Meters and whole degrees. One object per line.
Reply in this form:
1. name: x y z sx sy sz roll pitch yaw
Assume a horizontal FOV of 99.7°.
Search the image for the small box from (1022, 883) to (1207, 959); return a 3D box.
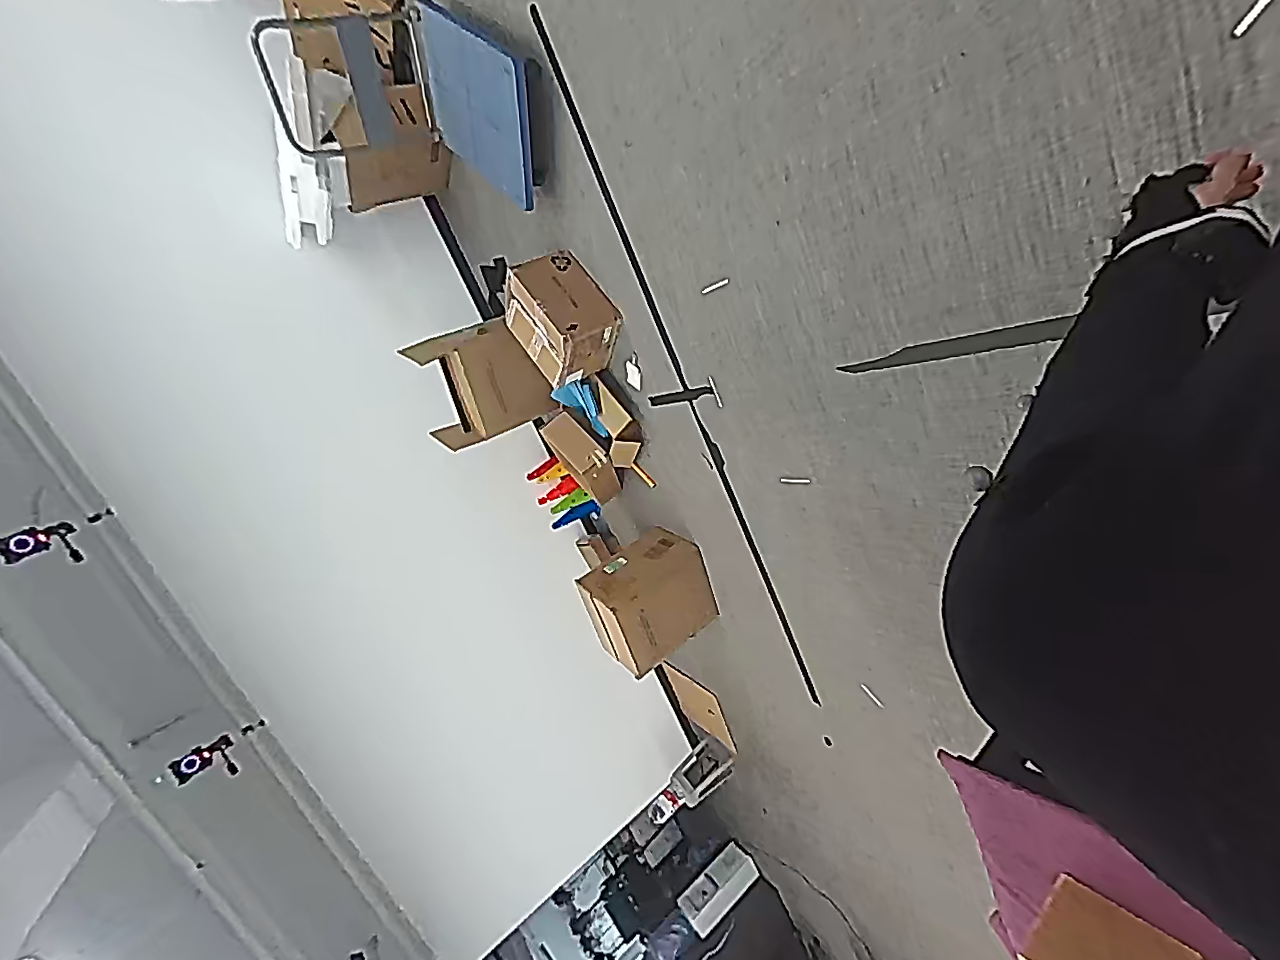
1. small box: 0.741 0.784 0.844 0.179 0.176 0.168 11 128 57
